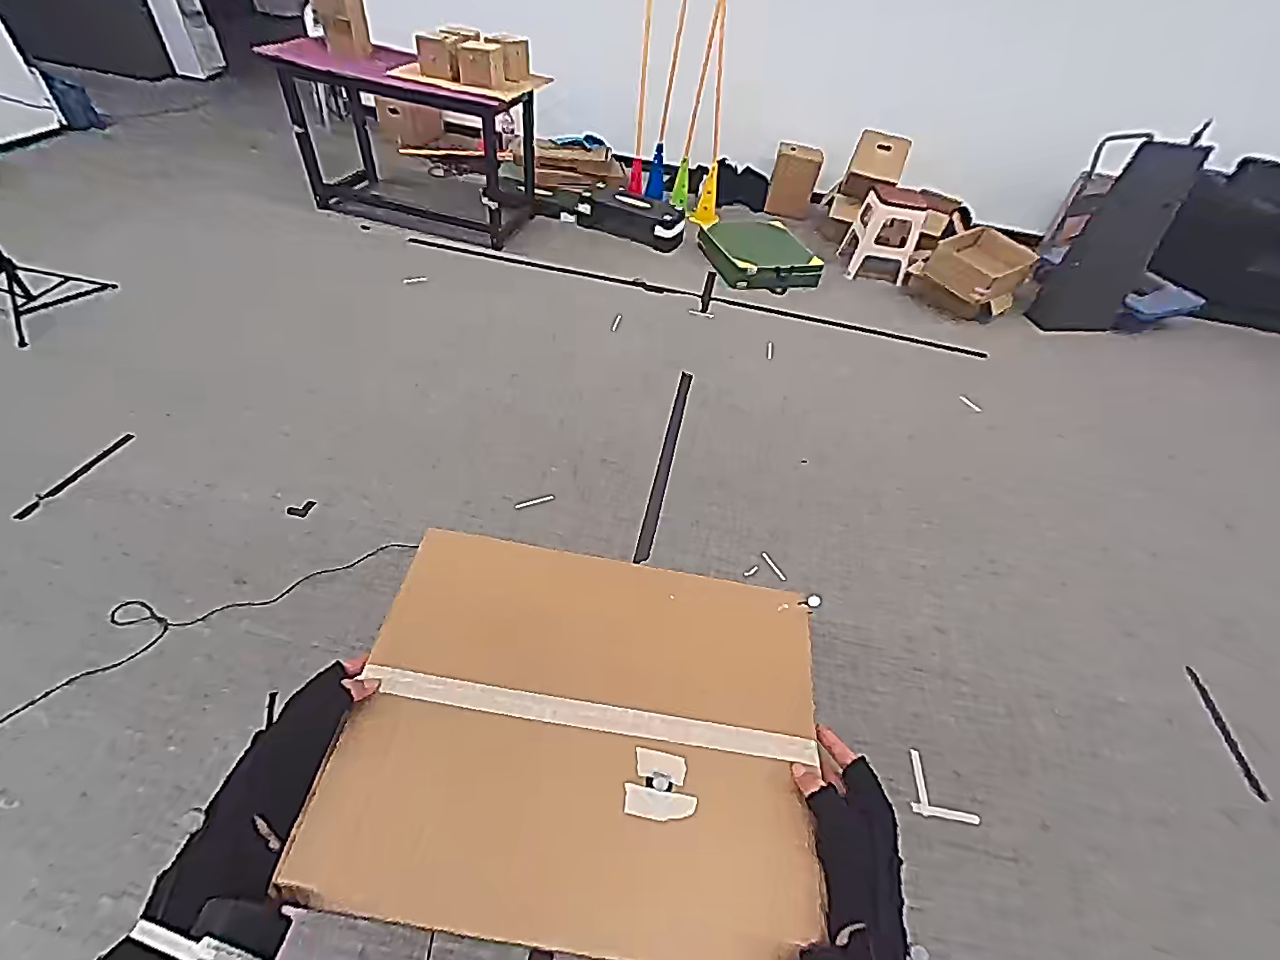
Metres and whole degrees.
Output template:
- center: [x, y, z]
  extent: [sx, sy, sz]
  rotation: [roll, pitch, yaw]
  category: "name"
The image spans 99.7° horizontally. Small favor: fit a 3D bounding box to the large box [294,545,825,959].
- center: [-0.060, 0.308, 0.602]
  extent: [0.408, 0.320, 0.320]
  rotation: [10, 53, -1]
  category: "large box"
